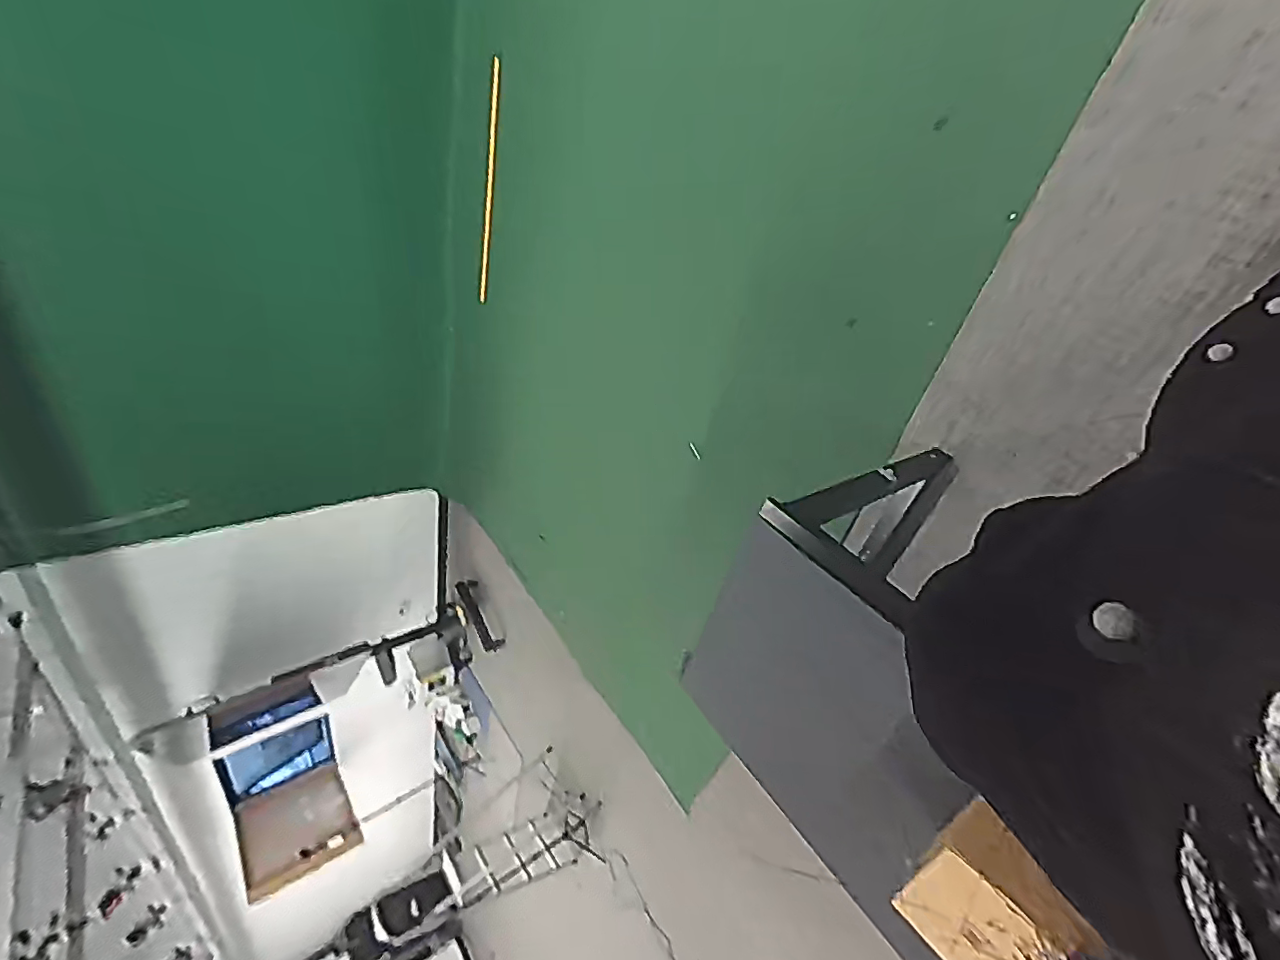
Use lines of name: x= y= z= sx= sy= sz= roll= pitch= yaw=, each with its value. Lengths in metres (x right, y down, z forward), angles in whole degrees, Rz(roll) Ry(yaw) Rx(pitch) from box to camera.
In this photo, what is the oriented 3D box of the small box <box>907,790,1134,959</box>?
small box: x=0.500 y=0.564 z=0.717 sx=0.168 sy=0.176 sz=0.179 roll=39 pitch=130 yaw=37
